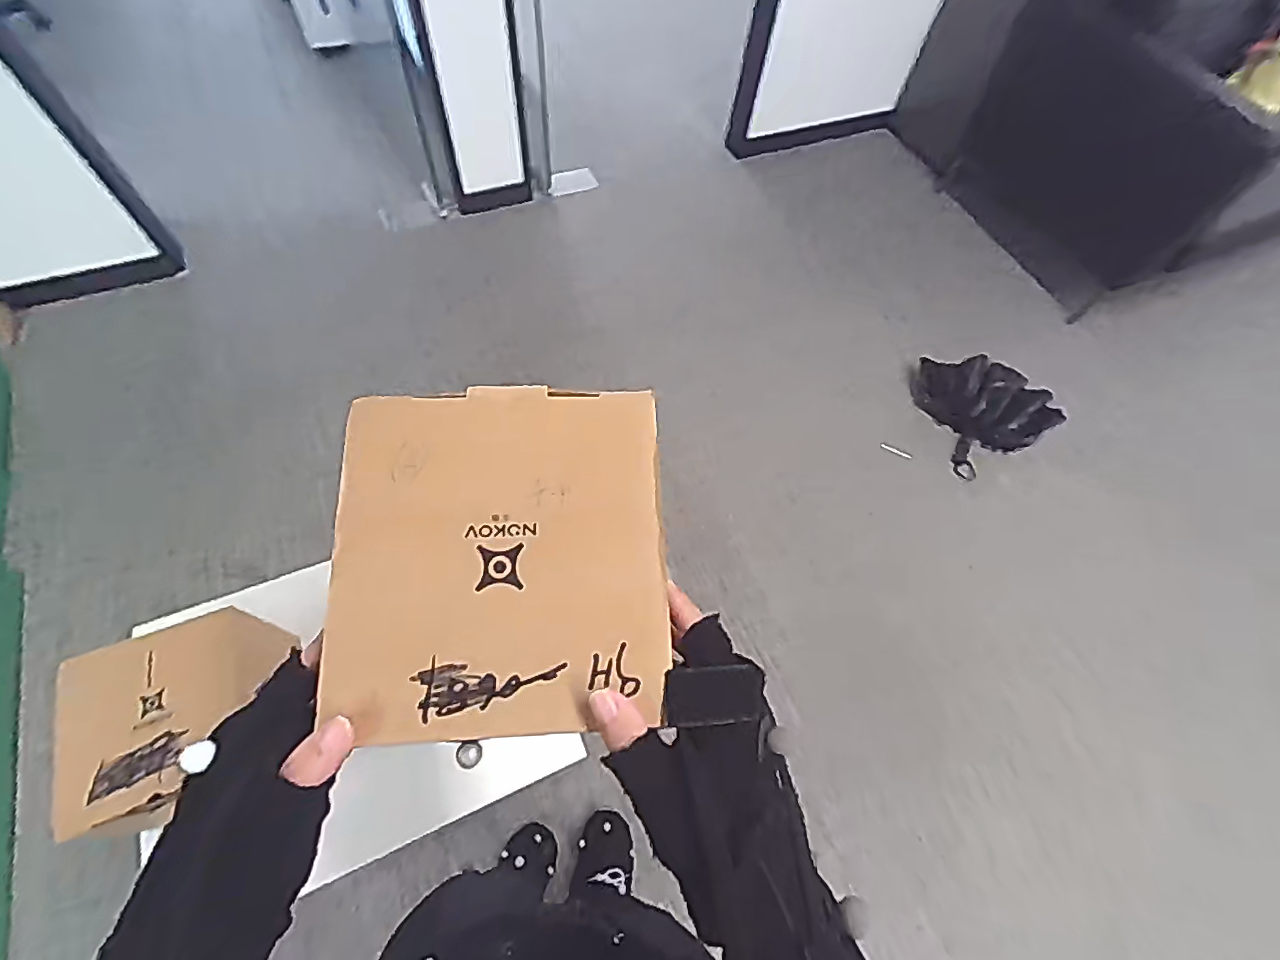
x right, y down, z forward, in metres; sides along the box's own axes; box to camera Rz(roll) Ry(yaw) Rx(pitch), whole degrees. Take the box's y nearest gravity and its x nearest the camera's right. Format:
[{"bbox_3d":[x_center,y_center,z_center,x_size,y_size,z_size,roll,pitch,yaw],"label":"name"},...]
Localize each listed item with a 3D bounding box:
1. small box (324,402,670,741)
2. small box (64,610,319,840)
[{"bbox_3d":[-0.073,0.063,0.357,0.168,0.176,0.179,-2,72,-3],"label":"small box"},{"bbox_3d":[-0.501,0.279,0.628,0.168,0.176,0.179,-19,64,-15],"label":"small box"}]
